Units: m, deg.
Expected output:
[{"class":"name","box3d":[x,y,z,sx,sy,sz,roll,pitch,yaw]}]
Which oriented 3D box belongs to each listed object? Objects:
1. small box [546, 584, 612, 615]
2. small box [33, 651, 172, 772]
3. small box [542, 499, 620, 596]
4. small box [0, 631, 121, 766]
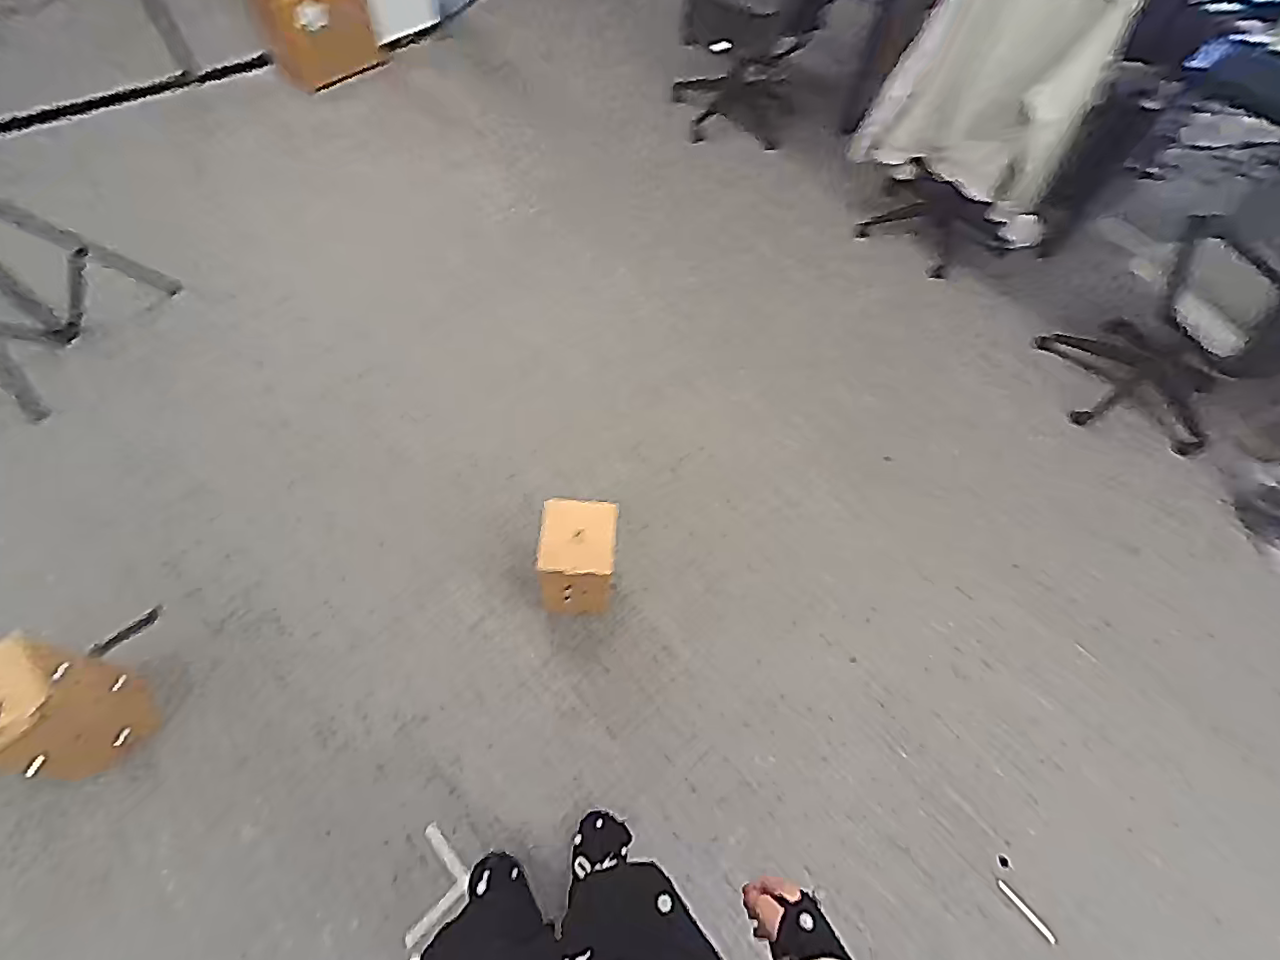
[{"class":"small box","box3d":[-0.155,0.245,1.436,0.168,0.176,0.179,5,60,-3]},{"class":"small box","box3d":[-1.196,0.512,1.189,0.179,0.176,0.168,41,64,18]},{"class":"small box","box3d":[-0.140,0.164,1.295,0.168,0.176,0.179,5,61,-4]},{"class":"small box","box3d":[-1.179,0.428,1.049,0.179,0.176,0.168,42,65,18]}]
